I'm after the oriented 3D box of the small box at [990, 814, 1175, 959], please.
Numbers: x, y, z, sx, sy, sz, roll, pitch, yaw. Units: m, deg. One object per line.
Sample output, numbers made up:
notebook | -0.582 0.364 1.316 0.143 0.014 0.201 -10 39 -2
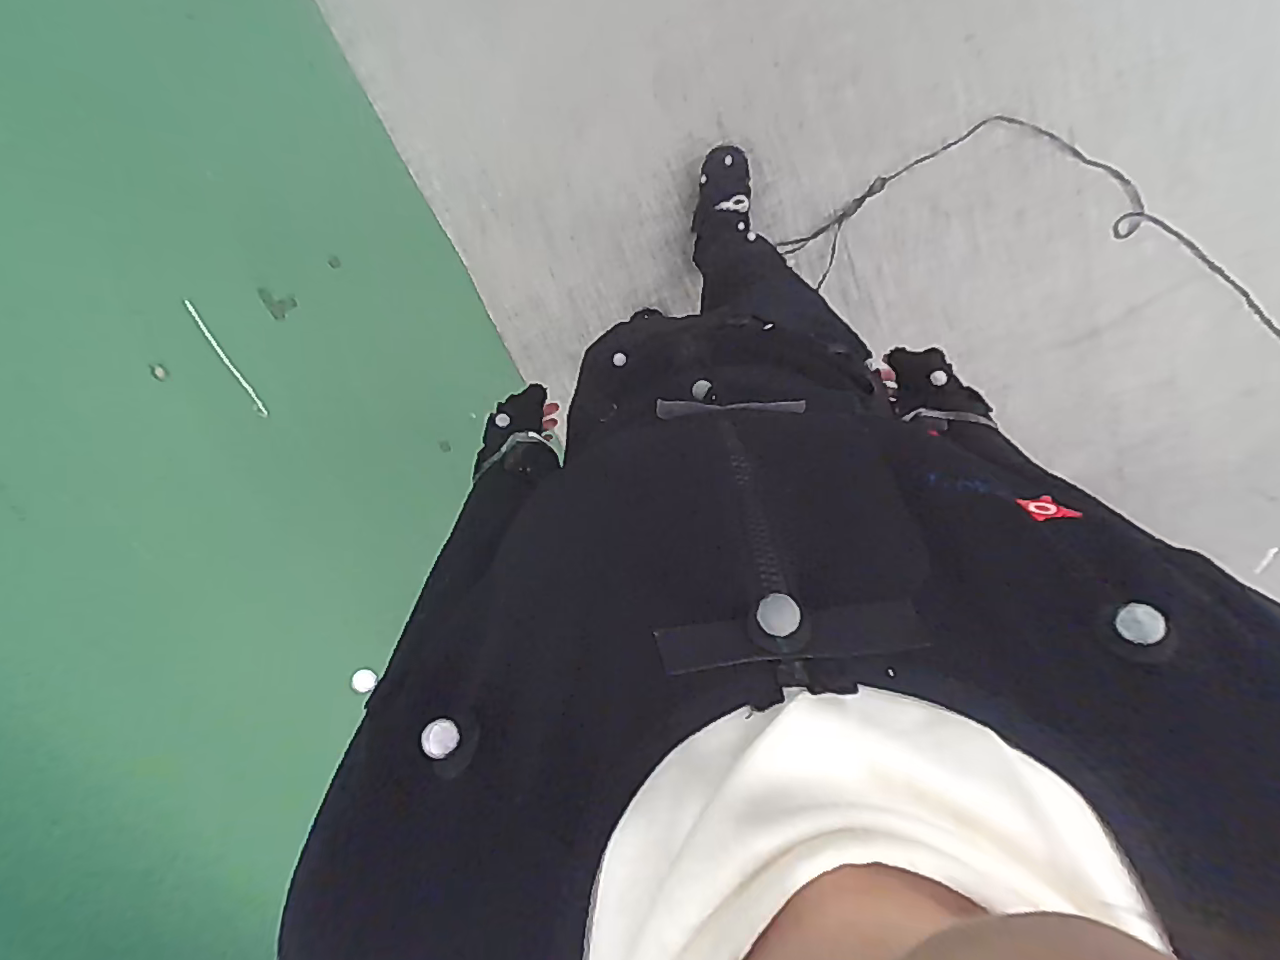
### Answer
small box | 0.721 0.698 0.893 0.168 0.176 0.179 -26 111 10
